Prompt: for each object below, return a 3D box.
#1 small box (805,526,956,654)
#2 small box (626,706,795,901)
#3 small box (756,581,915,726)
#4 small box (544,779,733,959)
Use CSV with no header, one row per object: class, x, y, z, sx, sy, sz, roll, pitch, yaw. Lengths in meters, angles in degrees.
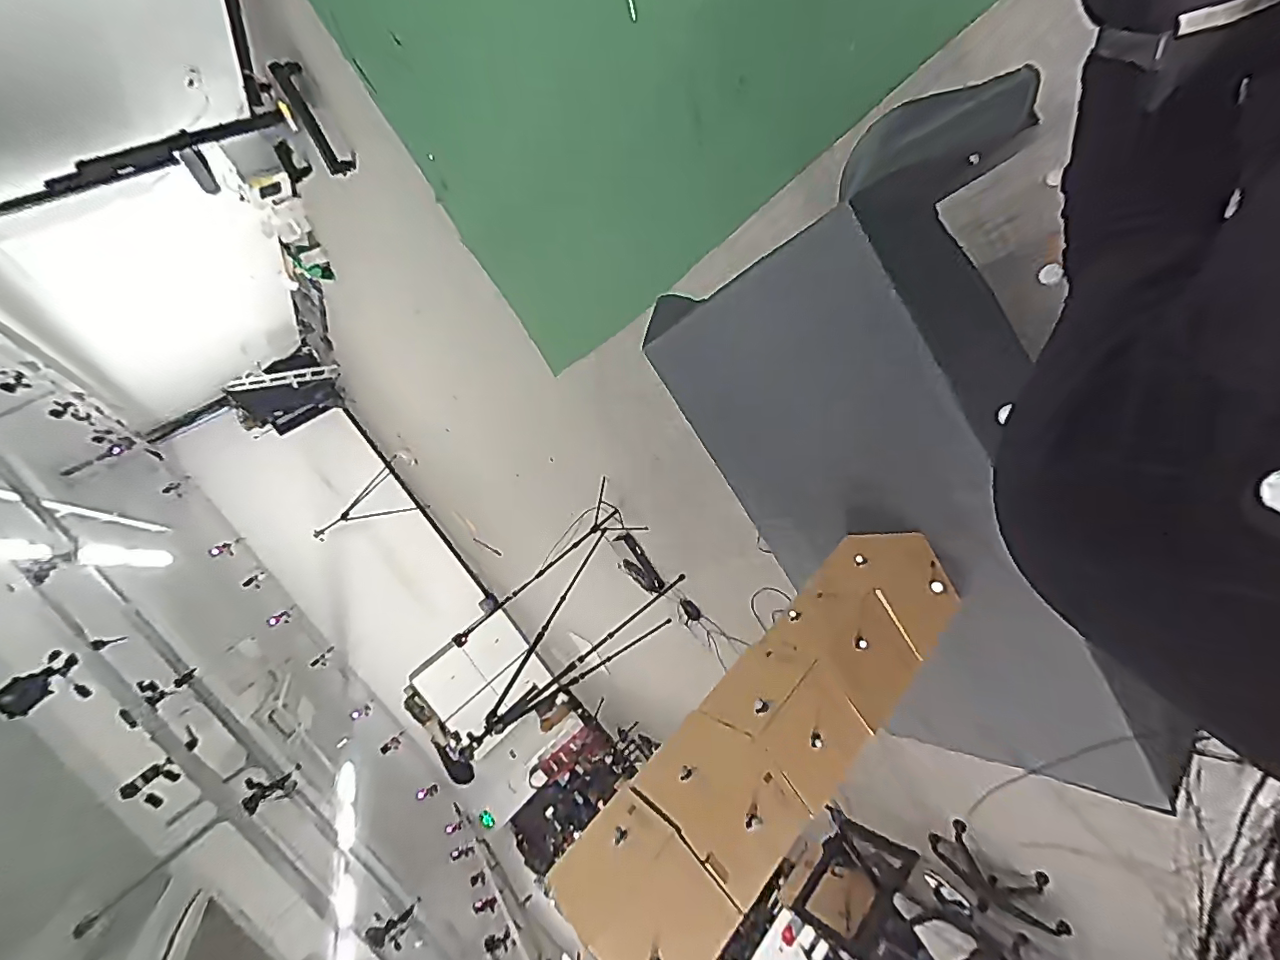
small box,0.463,0.203,1.043,0.168,0.176,0.179,56,152,-11
small box,0.115,0.485,0.844,0.168,0.176,0.179,56,153,-9
small box,0.351,0.298,0.973,0.179,0.176,0.168,55,154,-9
small box,-0.001,0.575,0.767,0.179,0.176,0.168,56,154,-10
